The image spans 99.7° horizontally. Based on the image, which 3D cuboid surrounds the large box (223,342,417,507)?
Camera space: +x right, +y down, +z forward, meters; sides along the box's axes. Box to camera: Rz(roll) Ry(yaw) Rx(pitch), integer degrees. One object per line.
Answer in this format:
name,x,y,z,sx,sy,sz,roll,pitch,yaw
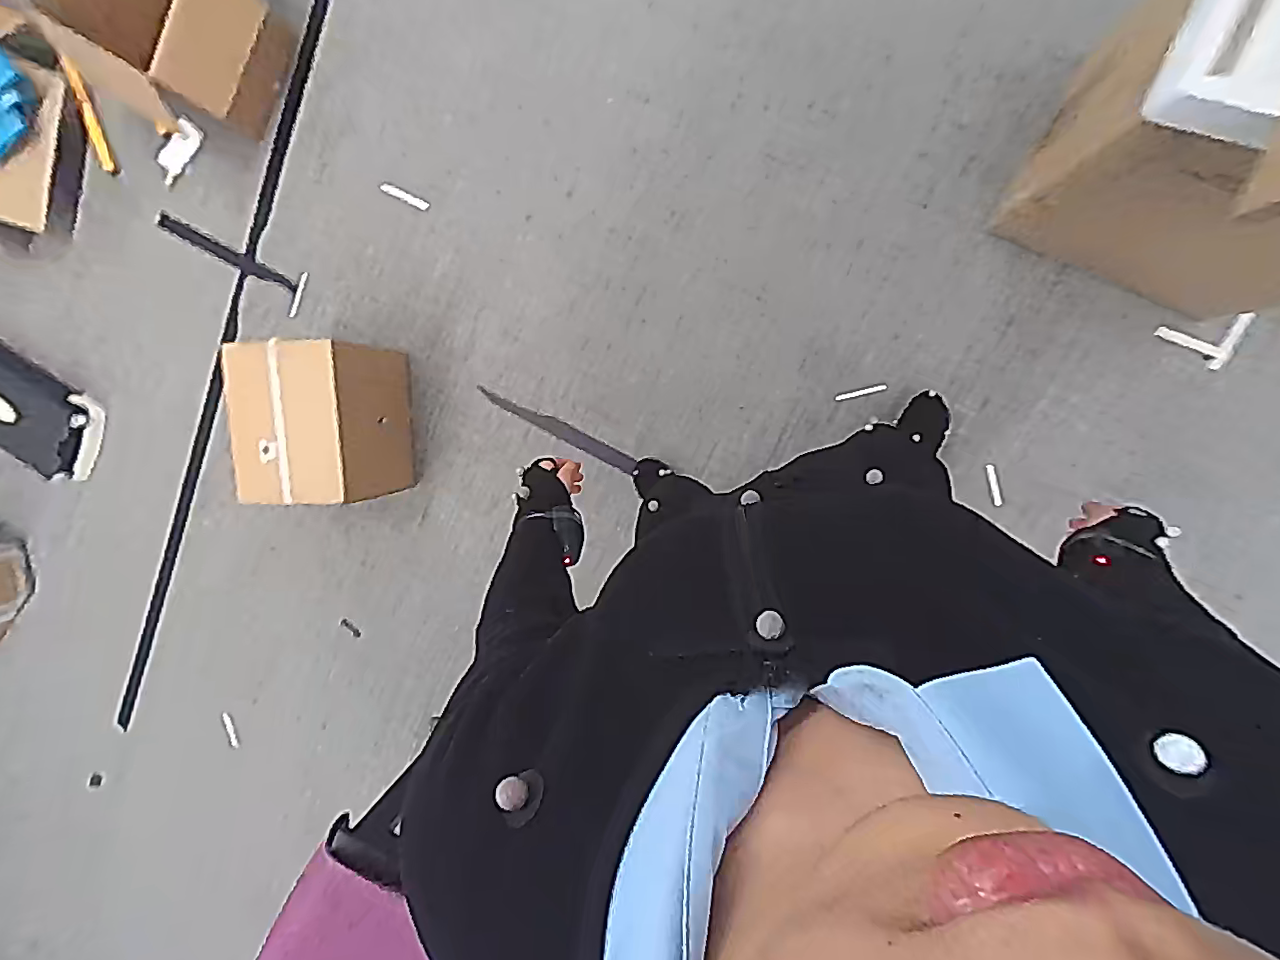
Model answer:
large box,-0.848,-0.153,1.480,0.320,0.320,0.408,0,99,11
